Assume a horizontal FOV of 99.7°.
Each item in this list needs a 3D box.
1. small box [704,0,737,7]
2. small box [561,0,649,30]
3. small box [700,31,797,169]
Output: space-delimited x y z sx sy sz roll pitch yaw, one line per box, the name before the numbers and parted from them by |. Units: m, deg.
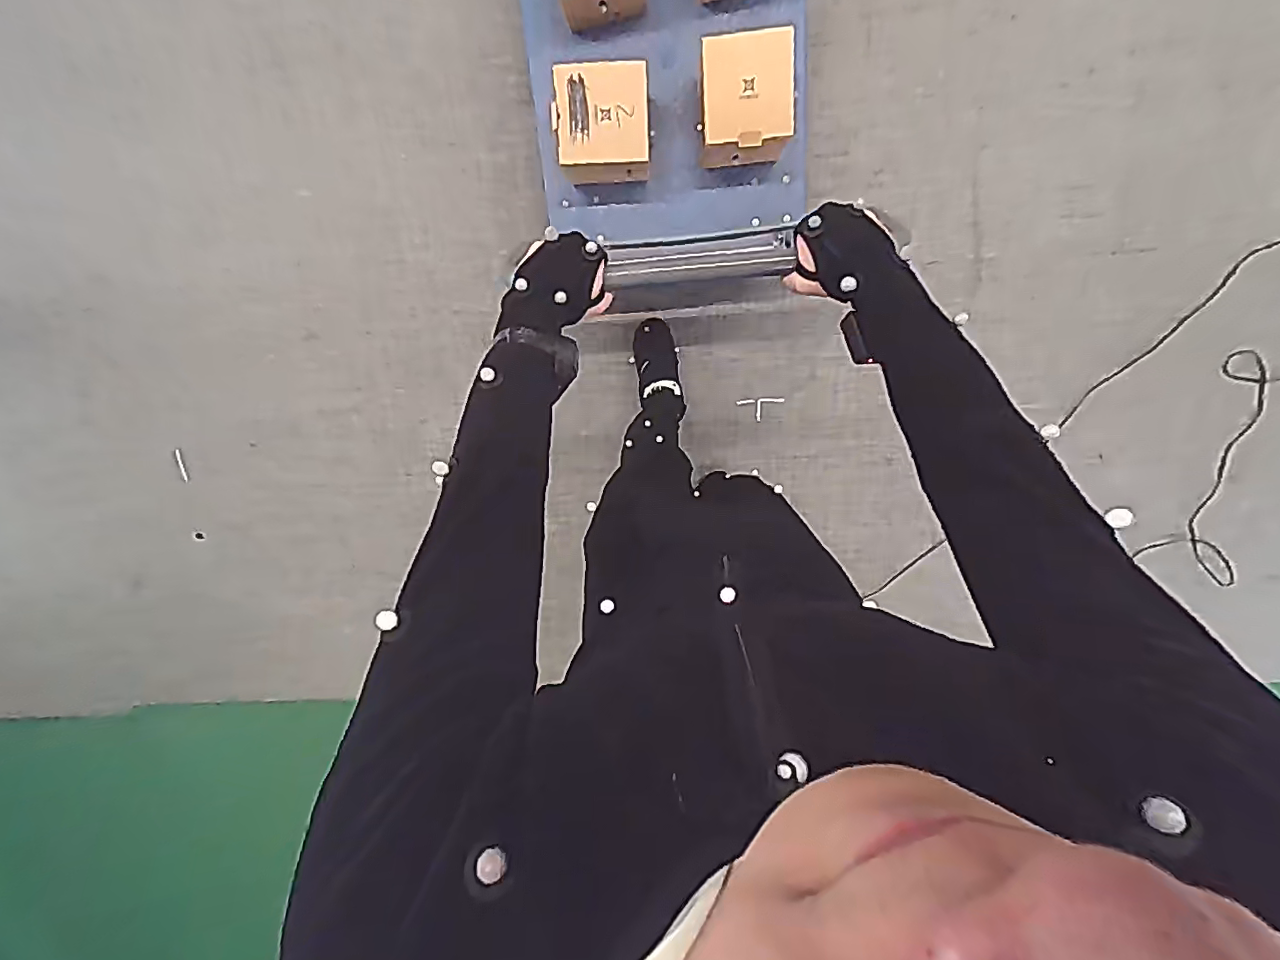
small box | 0.186 -1.022 0.984 0.168 0.176 0.179 -9 108 6
small box | -0.078 -0.985 1.008 0.168 0.176 0.179 -10 107 5
small box | 0.209 -0.741 1.074 0.168 0.176 0.179 -4 108 4
